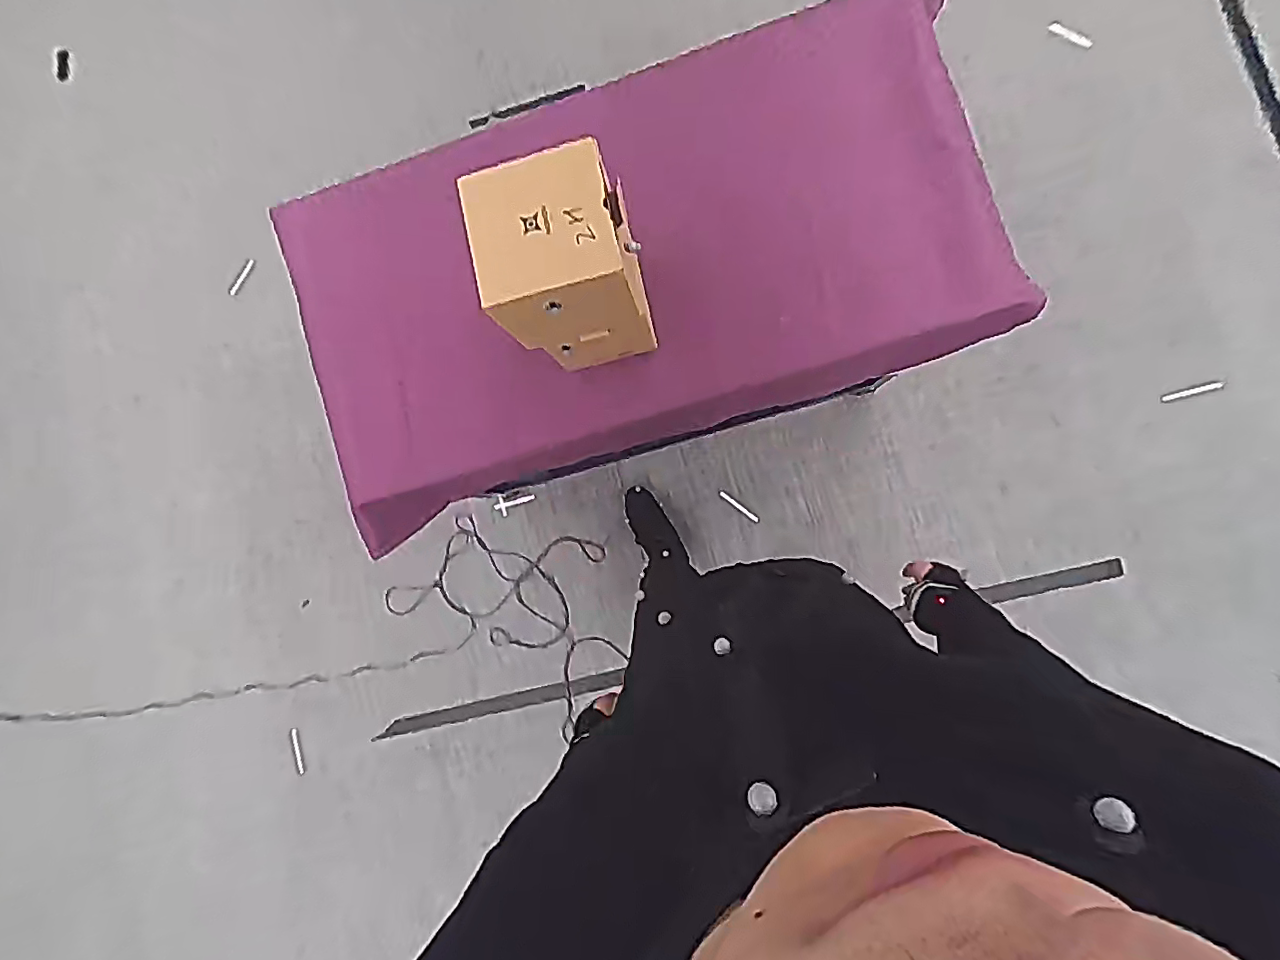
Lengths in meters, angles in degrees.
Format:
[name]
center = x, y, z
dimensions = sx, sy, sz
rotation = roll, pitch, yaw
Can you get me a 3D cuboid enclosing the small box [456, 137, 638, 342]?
[small box]
center = -0.111, -0.297, 0.709
dimensions = 0.179, 0.176, 0.168
rotation = -13, 86, 6
